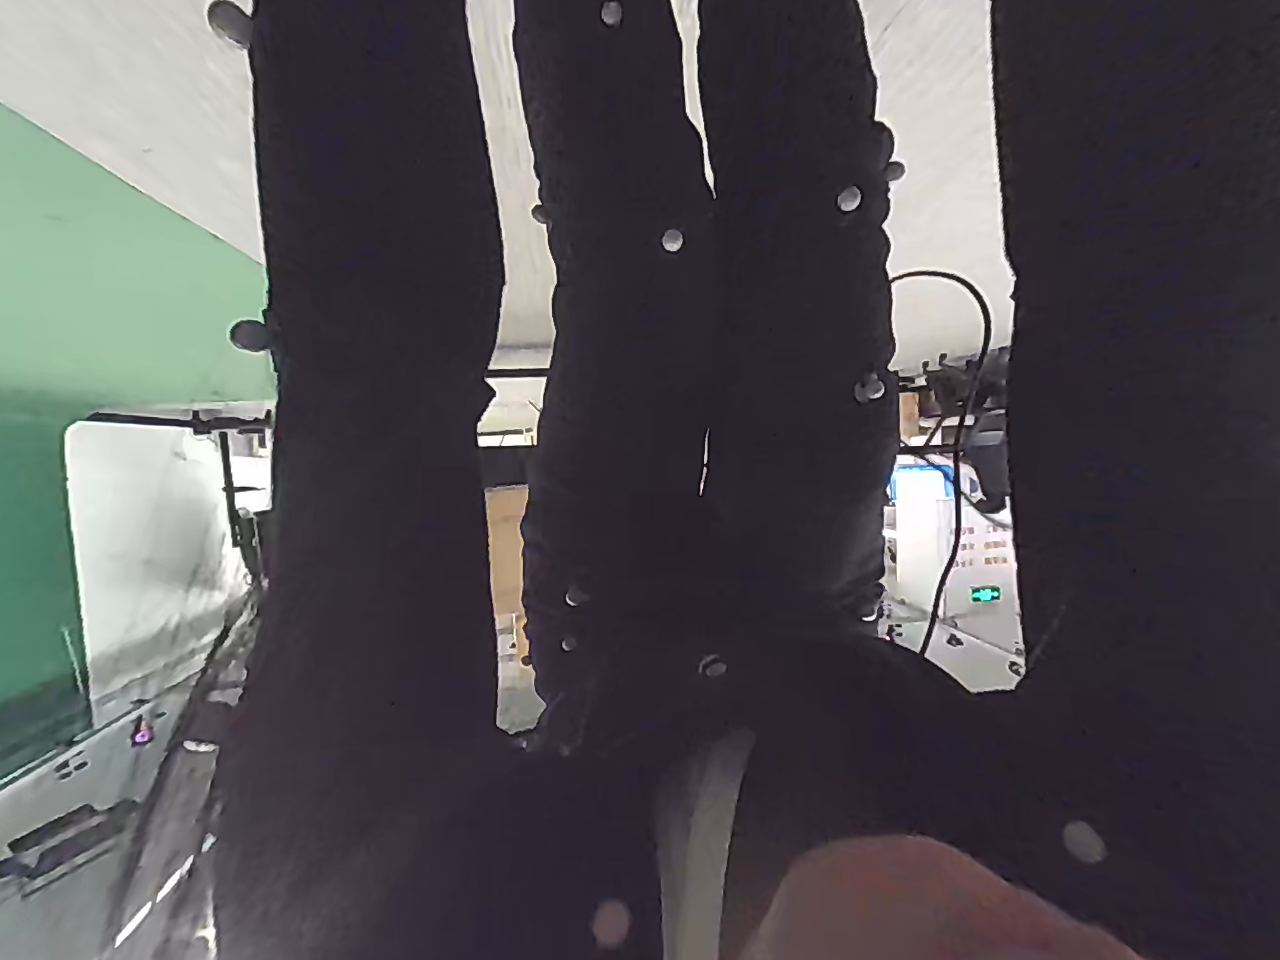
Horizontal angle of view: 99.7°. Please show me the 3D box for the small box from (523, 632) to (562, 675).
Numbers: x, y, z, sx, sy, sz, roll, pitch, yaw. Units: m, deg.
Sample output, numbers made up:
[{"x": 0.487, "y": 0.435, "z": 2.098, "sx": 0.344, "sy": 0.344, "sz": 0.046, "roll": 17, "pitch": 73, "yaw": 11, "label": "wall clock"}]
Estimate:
[{"x": -0.505, "y": 0.885, "z": 2.772, "sx": 0.179, "sy": 0.176, "sz": 0.168, "roll": -4, "pitch": 178, "yaw": -16, "label": "small box"}]
